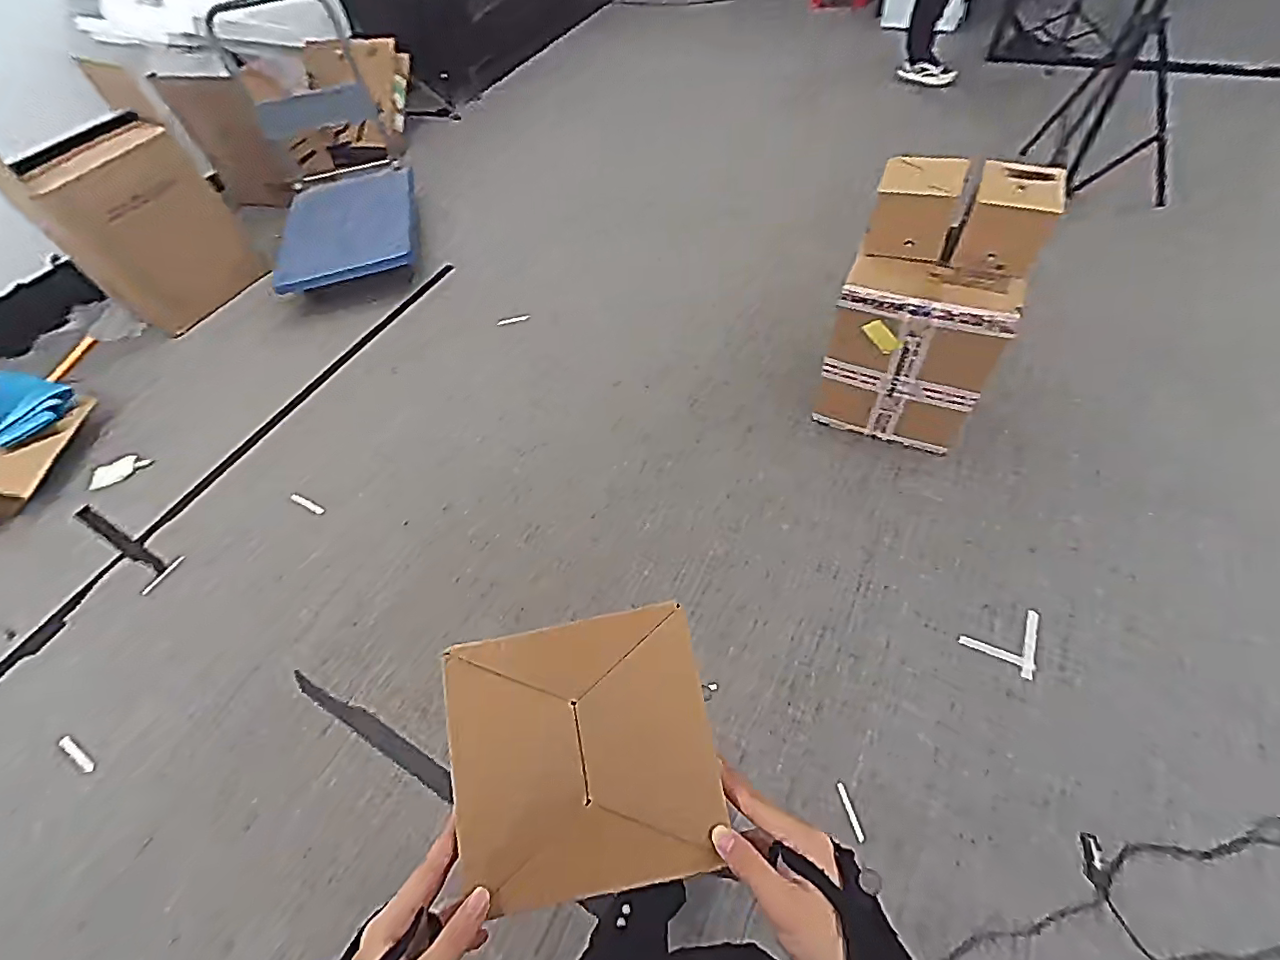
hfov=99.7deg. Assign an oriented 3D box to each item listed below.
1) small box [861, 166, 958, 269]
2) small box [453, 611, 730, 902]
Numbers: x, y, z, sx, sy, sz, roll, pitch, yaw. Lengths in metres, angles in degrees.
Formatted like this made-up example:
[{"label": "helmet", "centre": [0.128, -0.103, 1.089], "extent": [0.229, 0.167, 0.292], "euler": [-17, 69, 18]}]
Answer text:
[{"label": "small box", "centre": [0.666, -0.652, 1.337], "extent": [0.179, 0.176, 0.168], "euler": [17, 60, 21]}, {"label": "small box", "centre": [-0.037, 0.205, 0.442], "extent": [0.179, 0.176, 0.168], "euler": [-11, 74, -1]}]
